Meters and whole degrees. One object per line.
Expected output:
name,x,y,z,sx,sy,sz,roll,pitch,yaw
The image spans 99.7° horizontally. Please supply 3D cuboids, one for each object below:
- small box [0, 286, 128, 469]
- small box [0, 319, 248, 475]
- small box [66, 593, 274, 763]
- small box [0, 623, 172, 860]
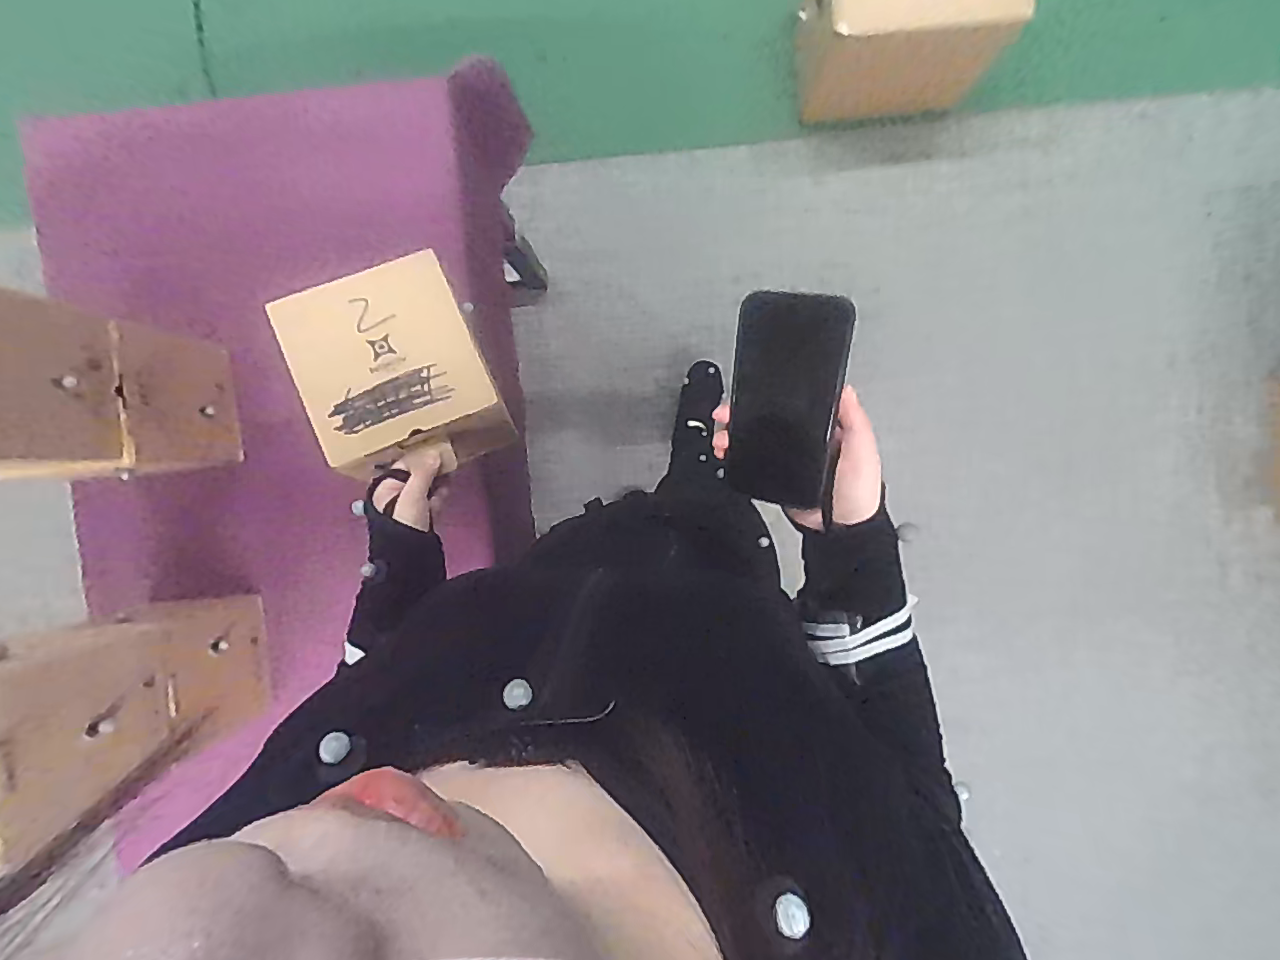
small box,-0.673,-0.095,0.533,0.179,0.176,0.168,-4,93,2
small box,-0.659,-0.096,0.698,0.179,0.176,0.168,-7,93,2
small box,-0.618,0.251,0.712,0.179,0.176,0.168,-5,91,3
small box,-0.623,0.251,0.548,0.179,0.176,0.168,-4,91,2
